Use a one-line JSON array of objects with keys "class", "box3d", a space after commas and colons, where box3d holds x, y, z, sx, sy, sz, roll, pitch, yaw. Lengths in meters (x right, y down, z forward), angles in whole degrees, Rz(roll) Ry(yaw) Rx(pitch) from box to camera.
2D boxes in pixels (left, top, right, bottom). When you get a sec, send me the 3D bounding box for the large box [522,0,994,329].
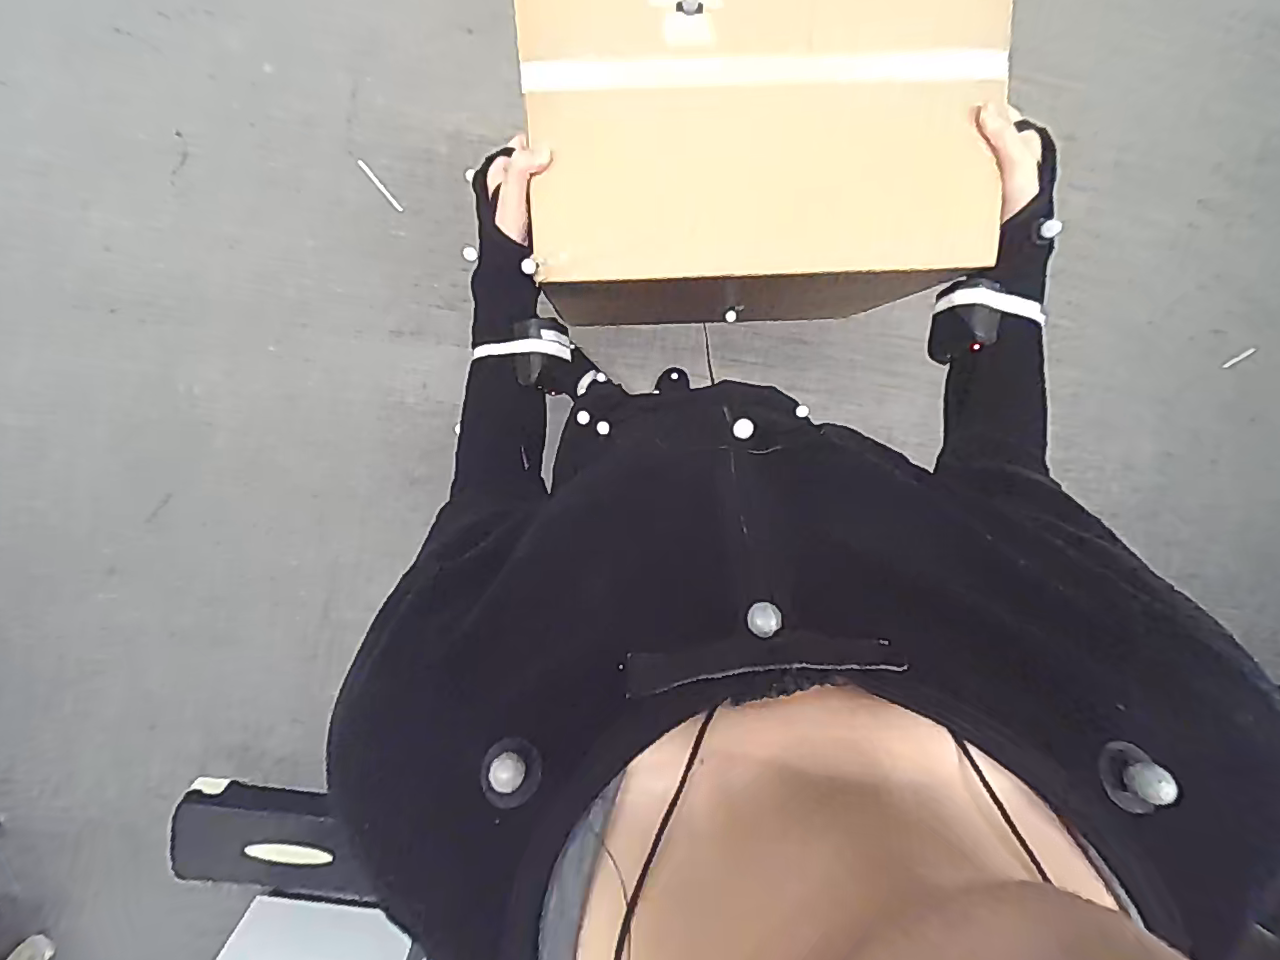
[{"class": "large box", "box3d": [0.101, -0.351, 0.610, 0.408, 0.320, 0.320, -2, 98, -1]}]
